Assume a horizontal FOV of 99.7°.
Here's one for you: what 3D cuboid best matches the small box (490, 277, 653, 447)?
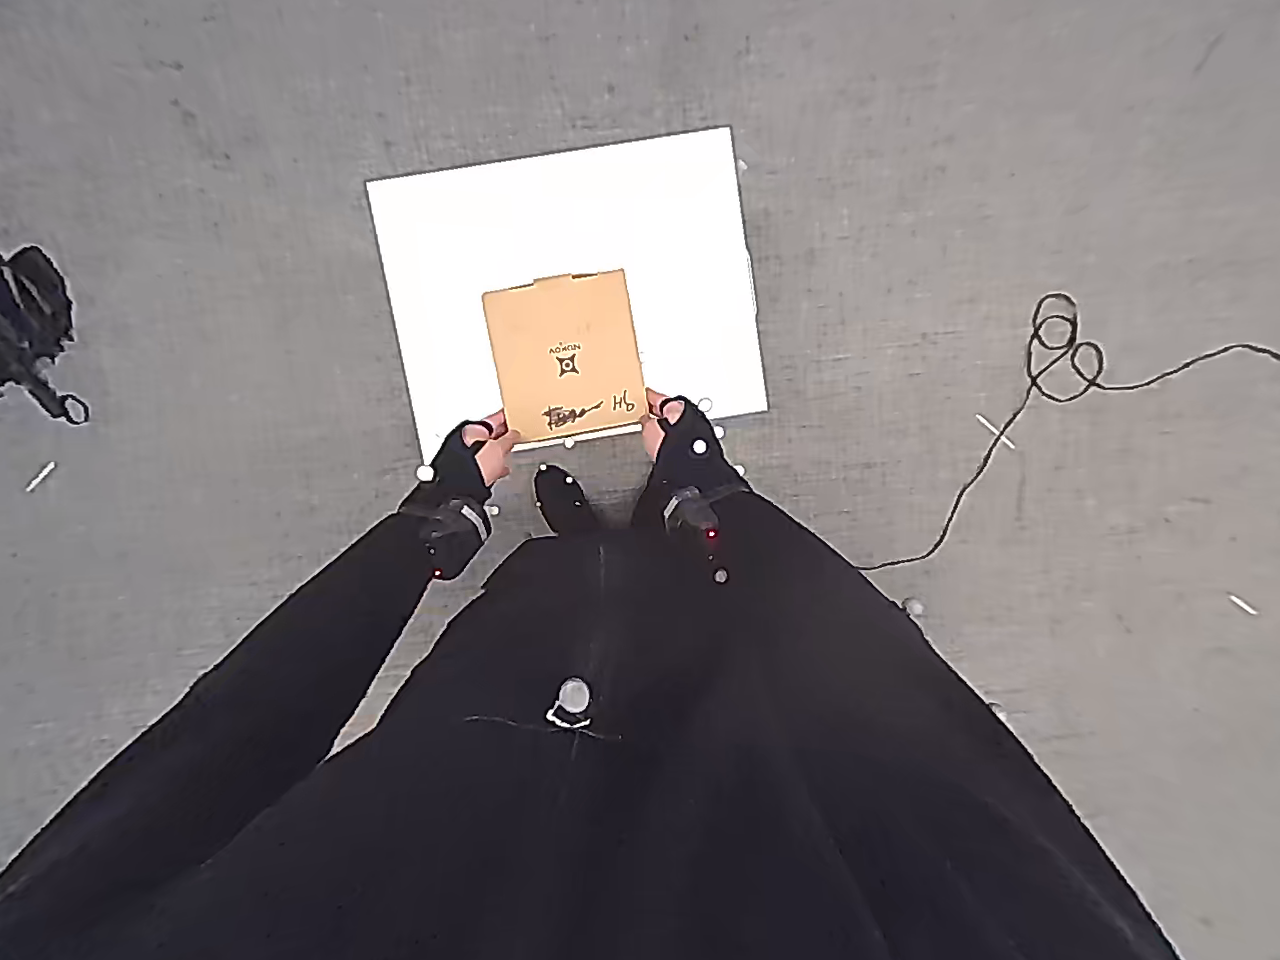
[{"bbox_3d":[-0.082,-0.141,0.702,0.168,0.176,0.179,-10,95,-1],"label":"small box"}]
